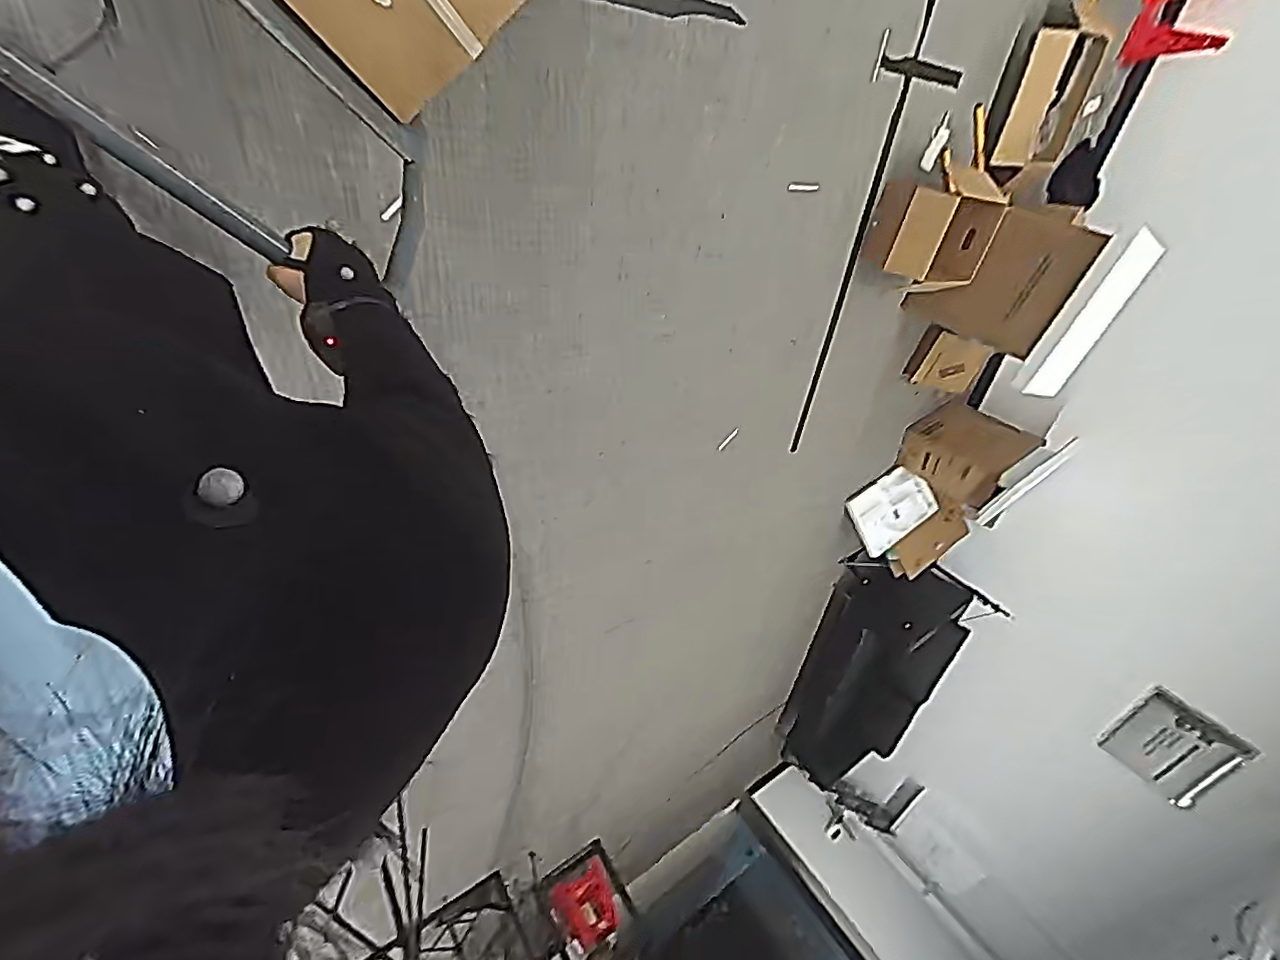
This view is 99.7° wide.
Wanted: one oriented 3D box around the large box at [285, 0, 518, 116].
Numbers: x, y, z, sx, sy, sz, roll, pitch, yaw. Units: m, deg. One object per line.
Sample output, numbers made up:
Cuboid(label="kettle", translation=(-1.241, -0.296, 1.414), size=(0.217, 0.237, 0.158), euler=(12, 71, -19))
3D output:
Cuboid(label="large box", translation=(-0.389, -0.823, 0.718), size=(0.320, 0.320, 0.408), euler=(-30, 145, 18))
